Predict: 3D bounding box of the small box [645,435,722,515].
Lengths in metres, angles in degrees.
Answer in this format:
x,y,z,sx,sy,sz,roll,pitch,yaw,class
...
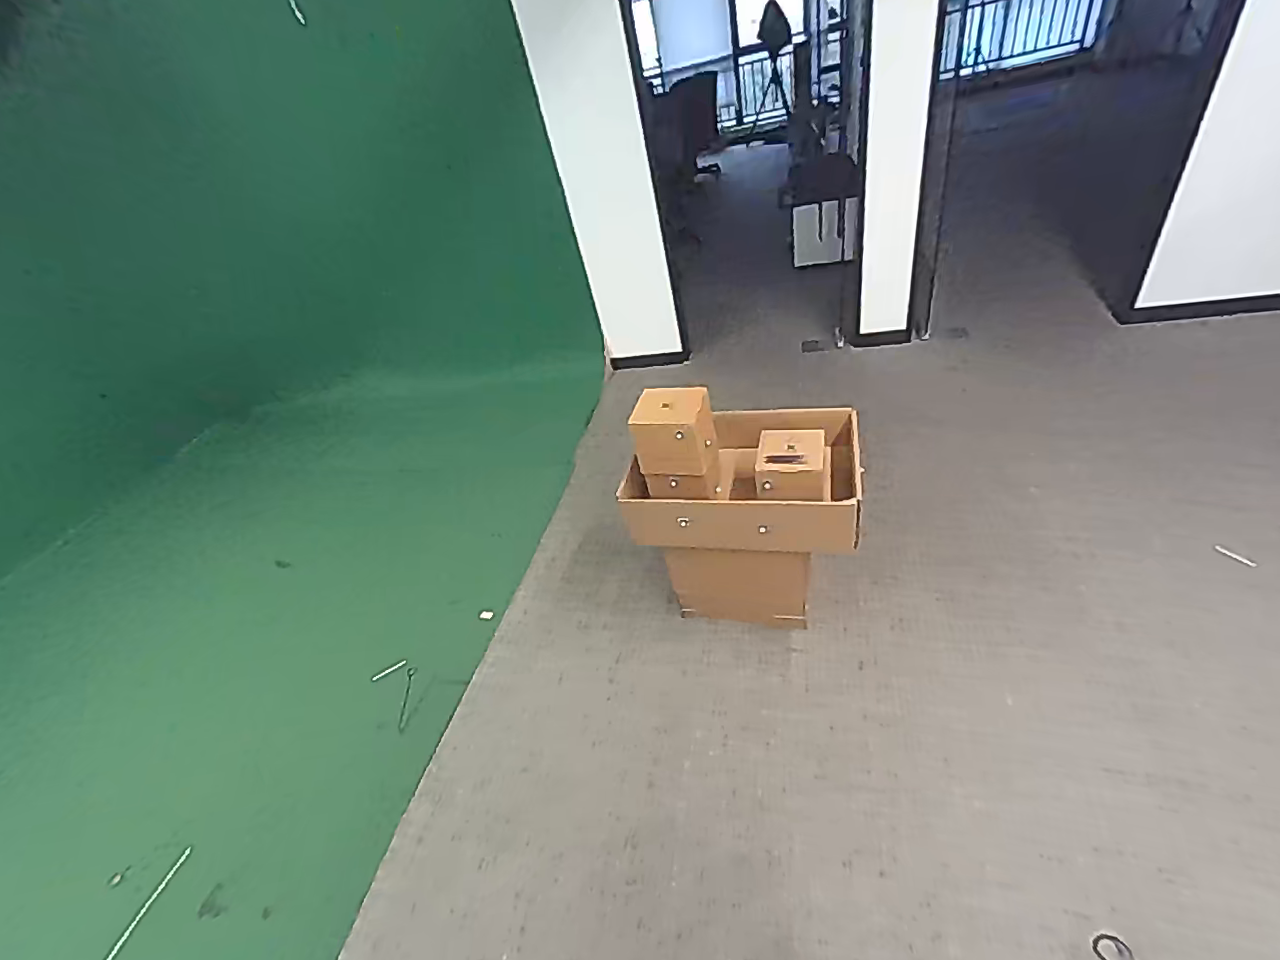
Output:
x,y,z,sx,sy,sz,roll,pitch,yaw,class
0.129,-0.014,1.543,0.179,0.176,0.168,2,42,20,small box

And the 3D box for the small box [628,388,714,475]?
x,y,z,sx,sy,sz,roll,pitch,yaw,class
0.088,-0.127,1.432,0.179,0.176,0.168,2,42,20,small box
